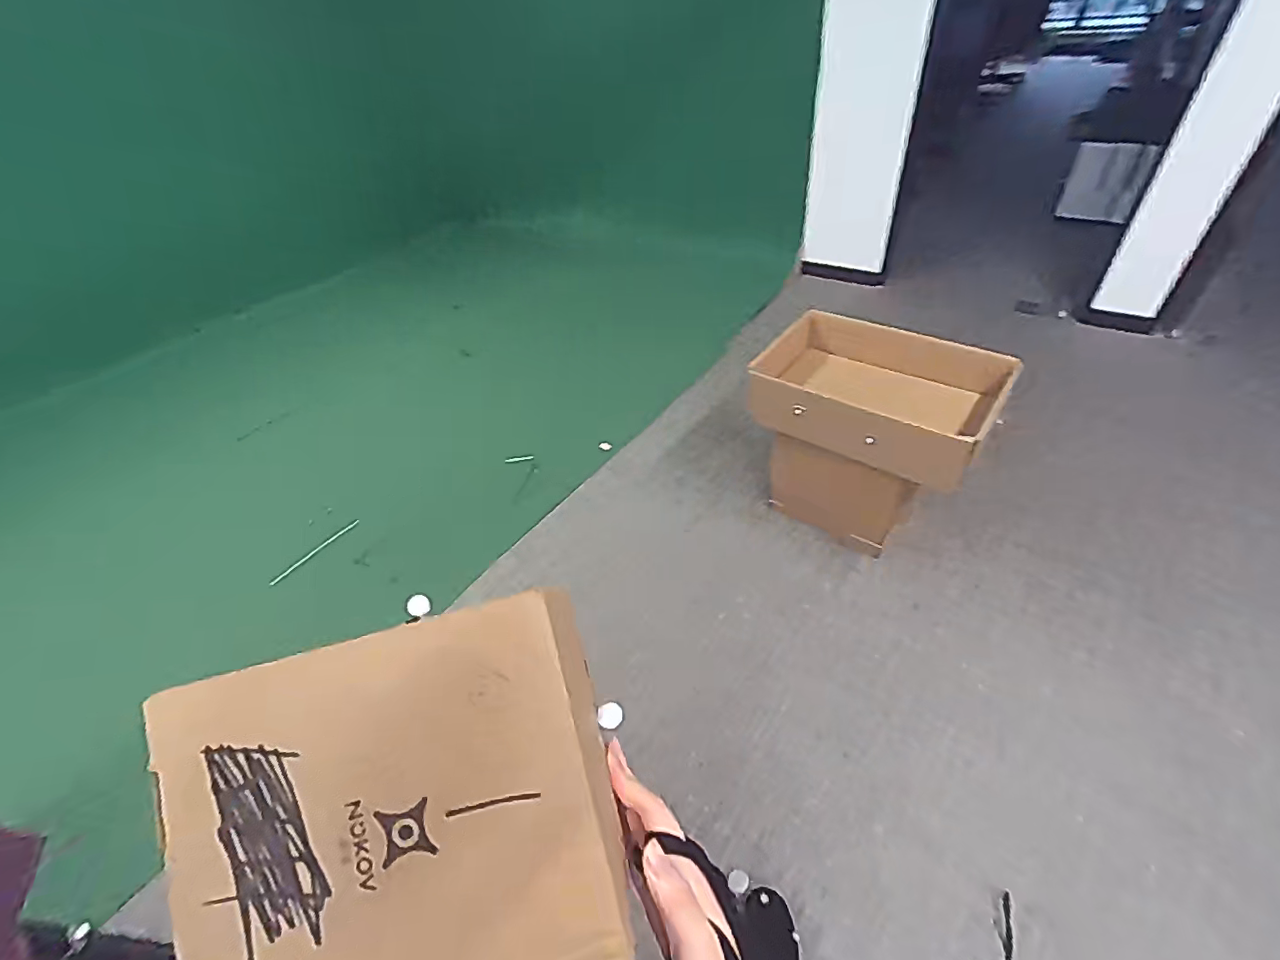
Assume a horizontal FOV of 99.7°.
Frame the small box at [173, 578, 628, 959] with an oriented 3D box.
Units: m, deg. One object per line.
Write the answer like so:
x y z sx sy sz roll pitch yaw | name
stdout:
-0.110 0.159 0.312 0.179 0.176 0.168 -13 81 -6 | small box
